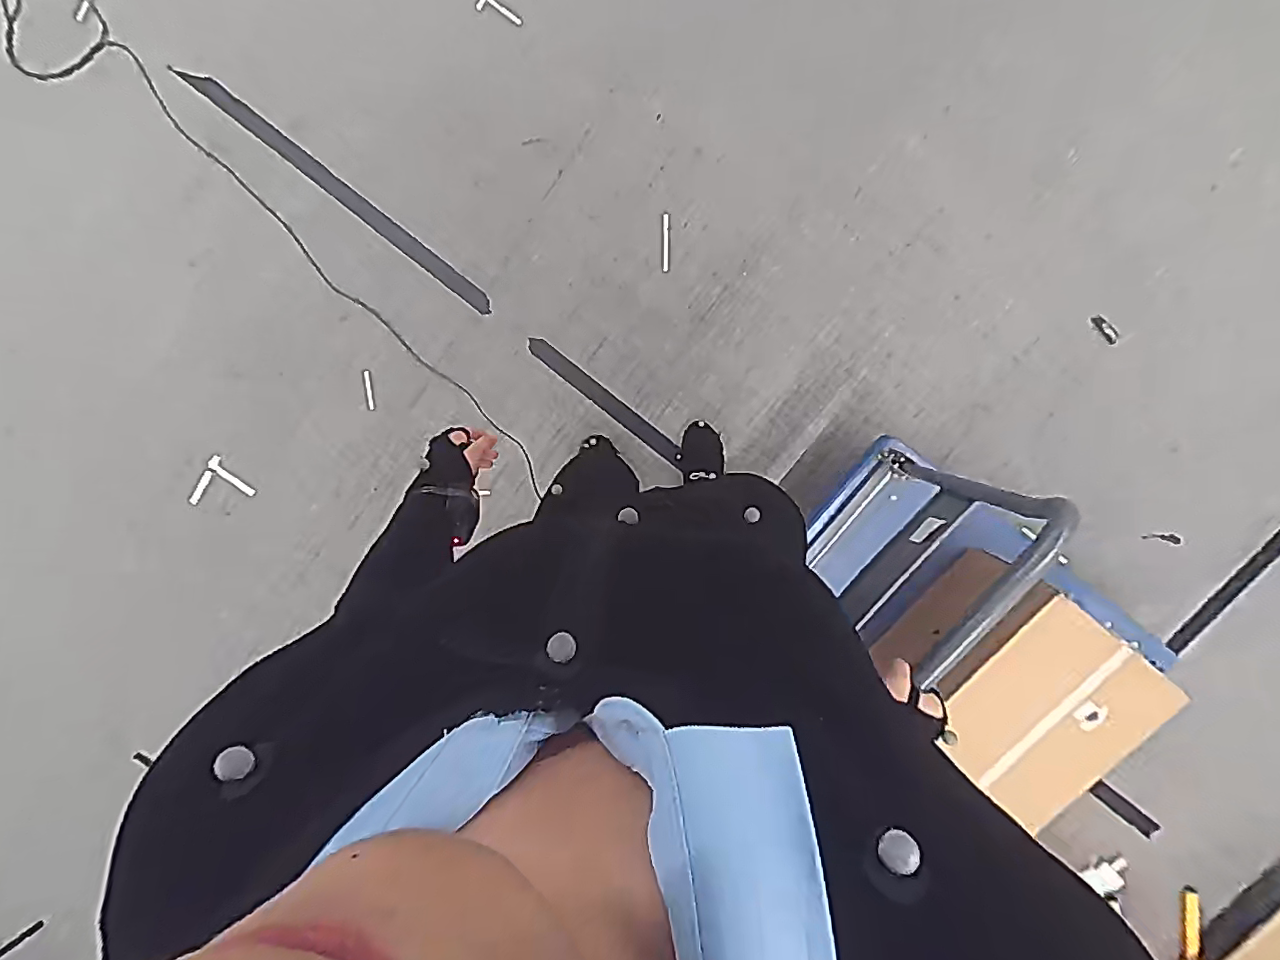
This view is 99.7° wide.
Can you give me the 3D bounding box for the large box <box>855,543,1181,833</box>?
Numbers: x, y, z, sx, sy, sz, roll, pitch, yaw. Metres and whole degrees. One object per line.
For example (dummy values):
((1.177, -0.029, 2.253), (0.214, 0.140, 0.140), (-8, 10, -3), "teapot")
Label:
((0.741, 0.406, 1.137), (0.320, 0.320, 0.408), (39, 99, -3), "large box")
